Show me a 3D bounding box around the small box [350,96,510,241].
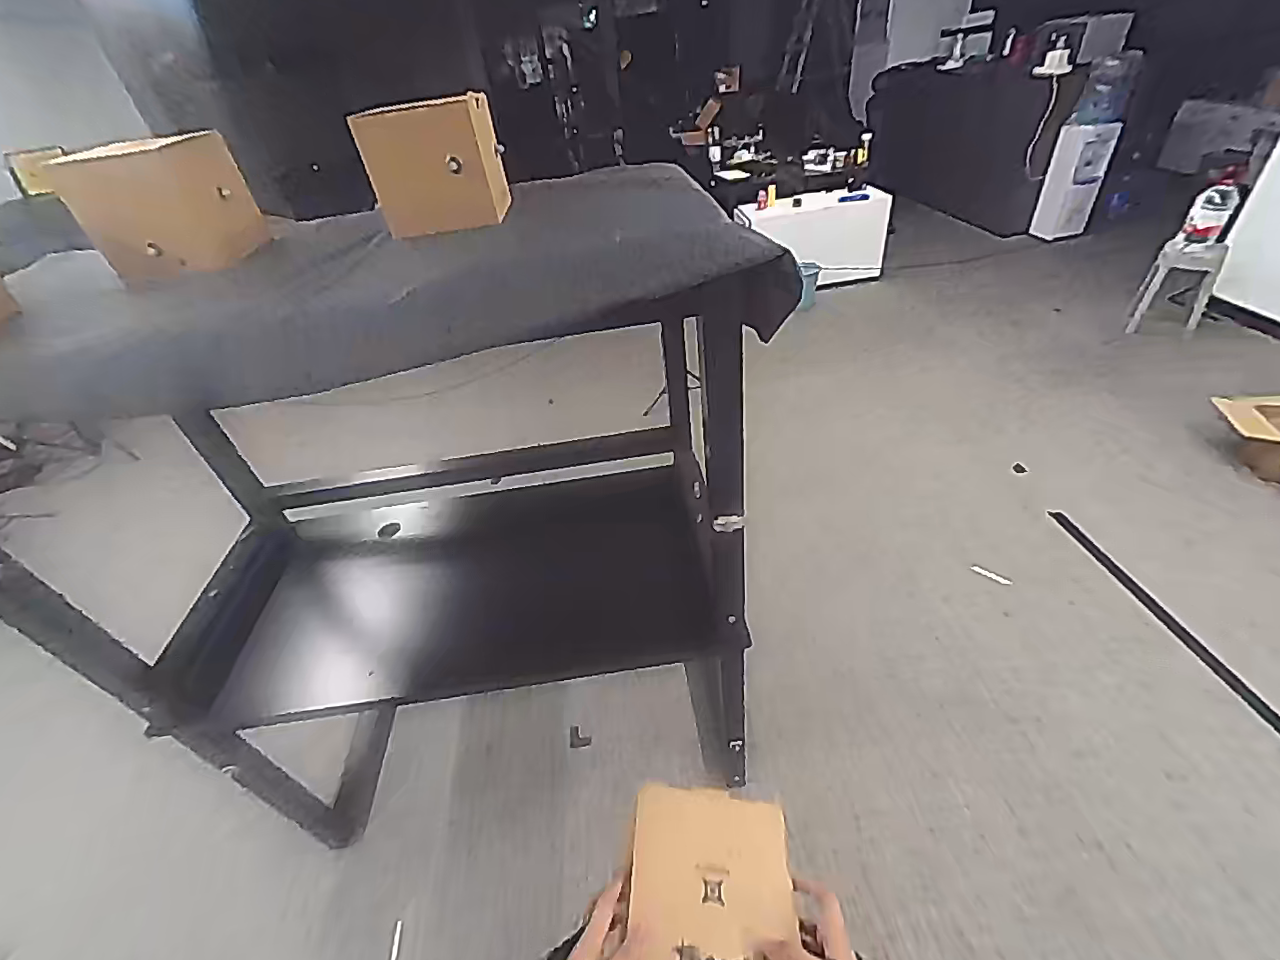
[{"bbox_3d":[-0.320,-0.501,0.871,0.179,0.176,0.168,-7,38,1],"label":"small box"}]
